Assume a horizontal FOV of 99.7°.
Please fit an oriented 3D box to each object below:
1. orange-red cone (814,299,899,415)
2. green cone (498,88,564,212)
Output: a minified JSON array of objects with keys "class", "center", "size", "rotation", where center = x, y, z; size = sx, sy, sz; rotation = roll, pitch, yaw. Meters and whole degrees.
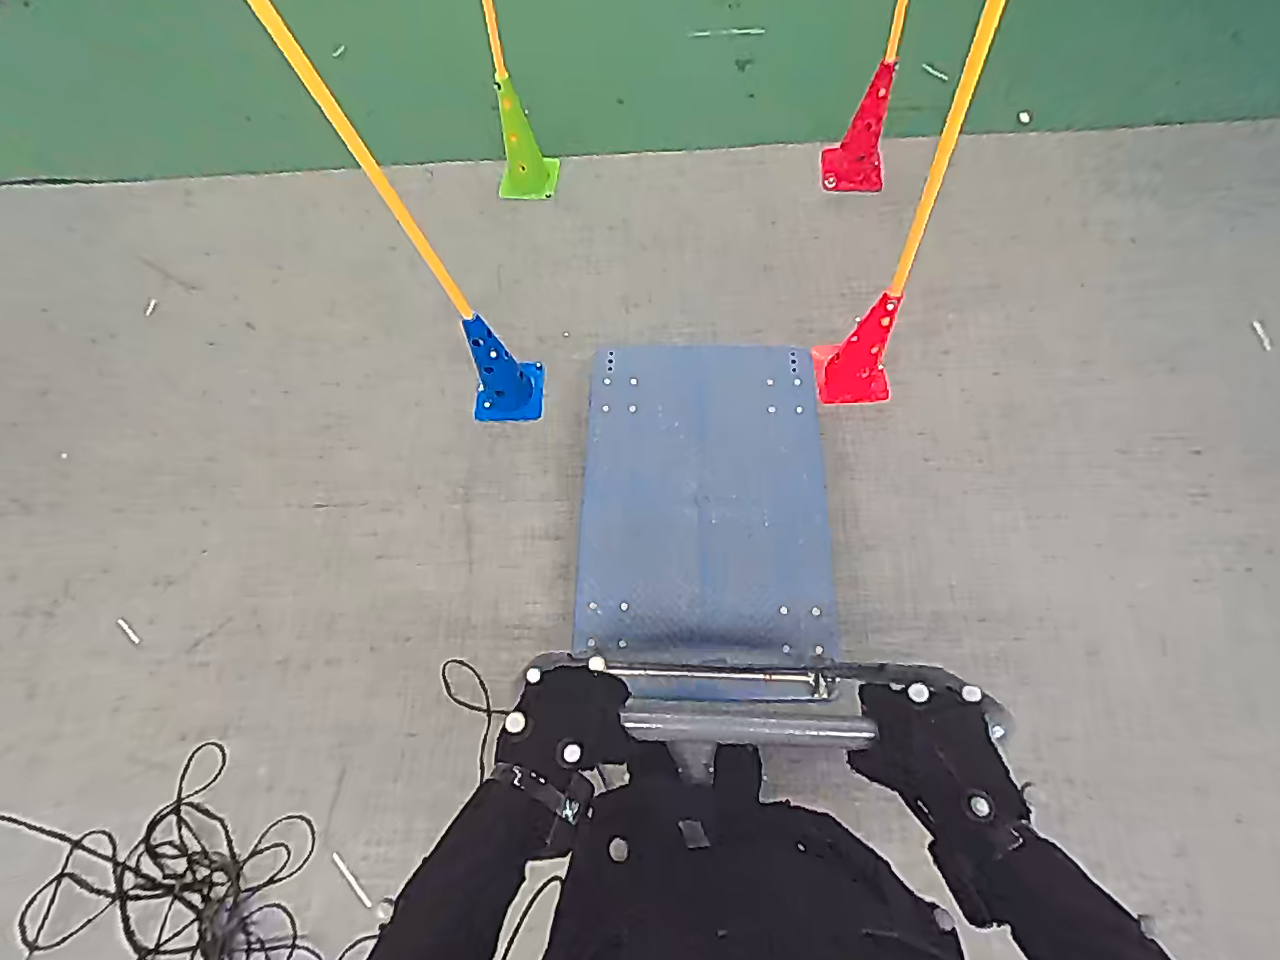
[{"class":"orange-red cone","center":[0.609,-0.347,1.444],"size":[0.199,0.360,0.198],"rotation":[-2,67,4]},{"class":"green cone","center":[-0.395,-1.119,1.813],"size":[0.202,0.368,0.200],"rotation":[3,68,5]}]
